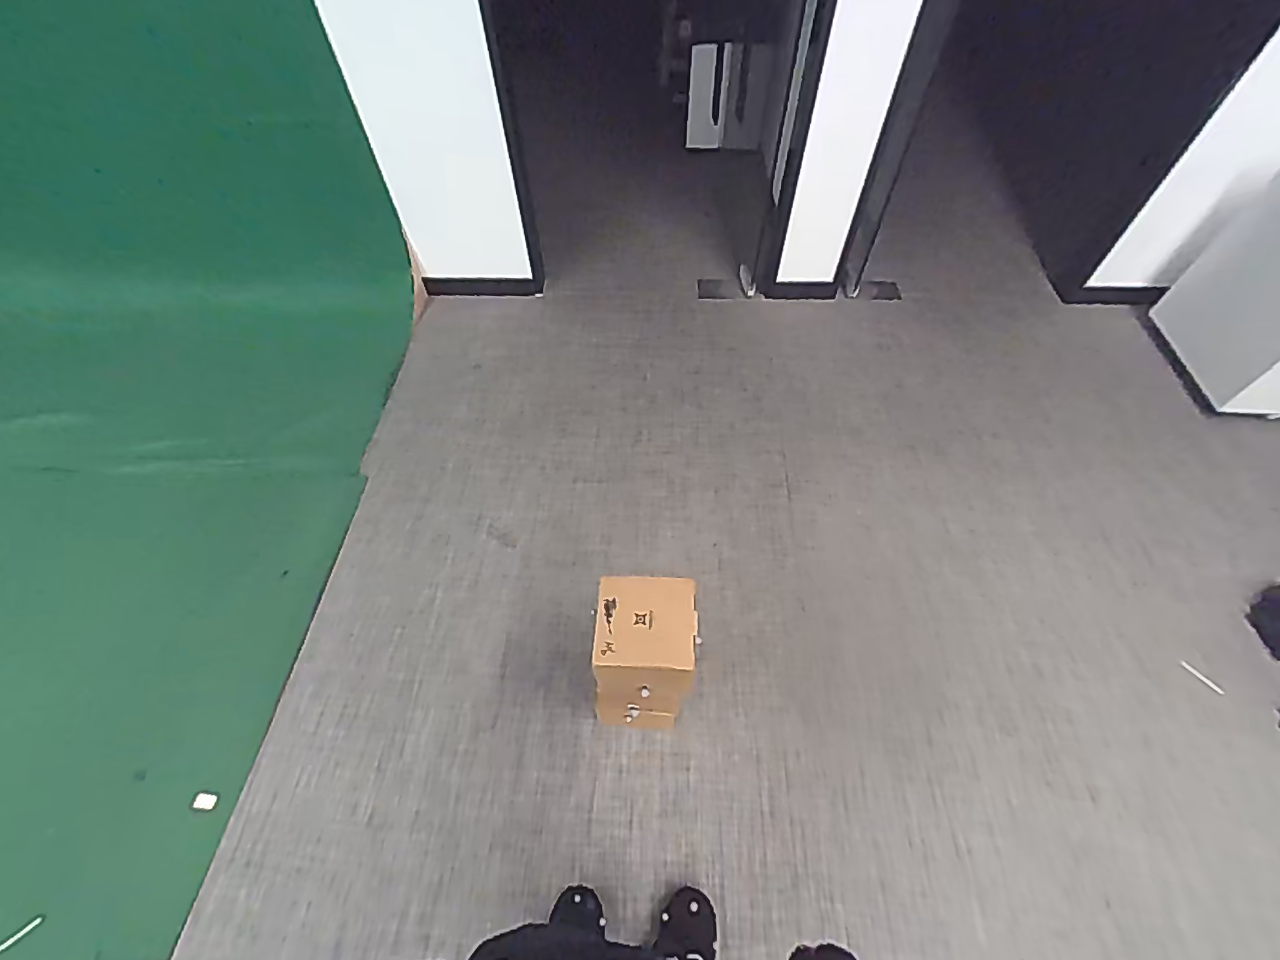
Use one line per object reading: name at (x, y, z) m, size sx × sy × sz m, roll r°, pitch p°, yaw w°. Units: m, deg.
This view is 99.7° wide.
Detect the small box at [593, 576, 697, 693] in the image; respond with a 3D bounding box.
small box at (0.013, 0.297, 1.021) m, size 0.179 × 0.176 × 0.168 m, roll 2°, pitch 55°, yaw 4°

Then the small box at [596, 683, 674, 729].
small box at (-0.002, 0.484, 1.287) m, size 0.179 × 0.176 × 0.168 m, roll 4°, pitch 55°, yaw 3°

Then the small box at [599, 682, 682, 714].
small box at (0.008, 0.387, 1.158) m, size 0.168 × 0.176 × 0.179 m, roll 2°, pitch 56°, yaw 4°
